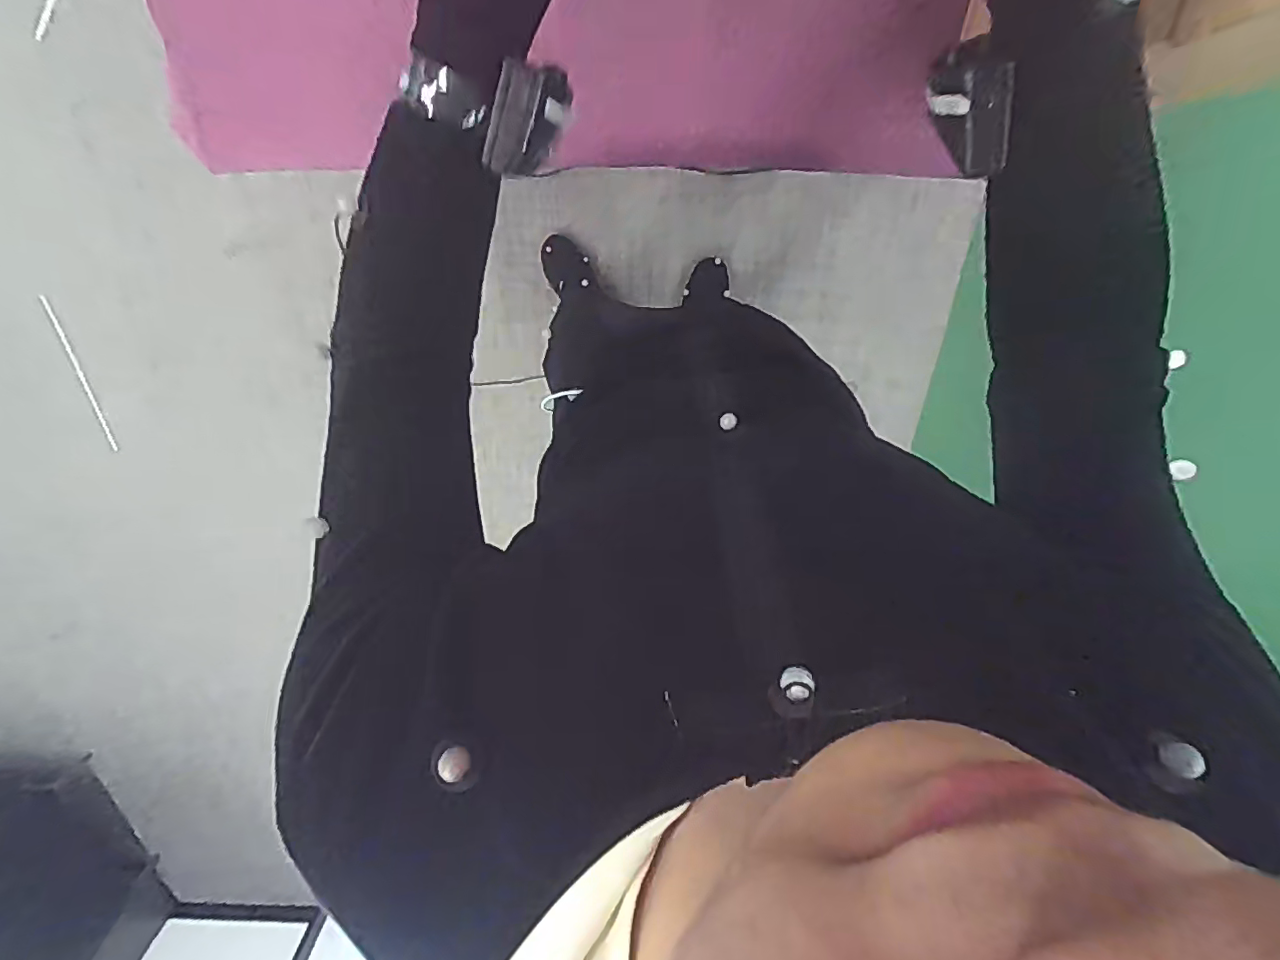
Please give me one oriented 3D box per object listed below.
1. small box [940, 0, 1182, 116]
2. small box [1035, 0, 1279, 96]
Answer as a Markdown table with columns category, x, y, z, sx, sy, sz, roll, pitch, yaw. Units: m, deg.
| category | x | y | z | sx | sy | sz | roll | pitch | yaw |
| --- | --- | --- | --- | --- | --- | --- | --- | --- | --- |
| small box | 0.457 | -0.492 | 0.562 | 0.179 | 0.176 | 0.168 | 5 | 116 | -1 |
| small box | 0.455 | -0.422 | 0.414 | 0.168 | 0.176 | 0.179 | 6 | 117 | 1 |
